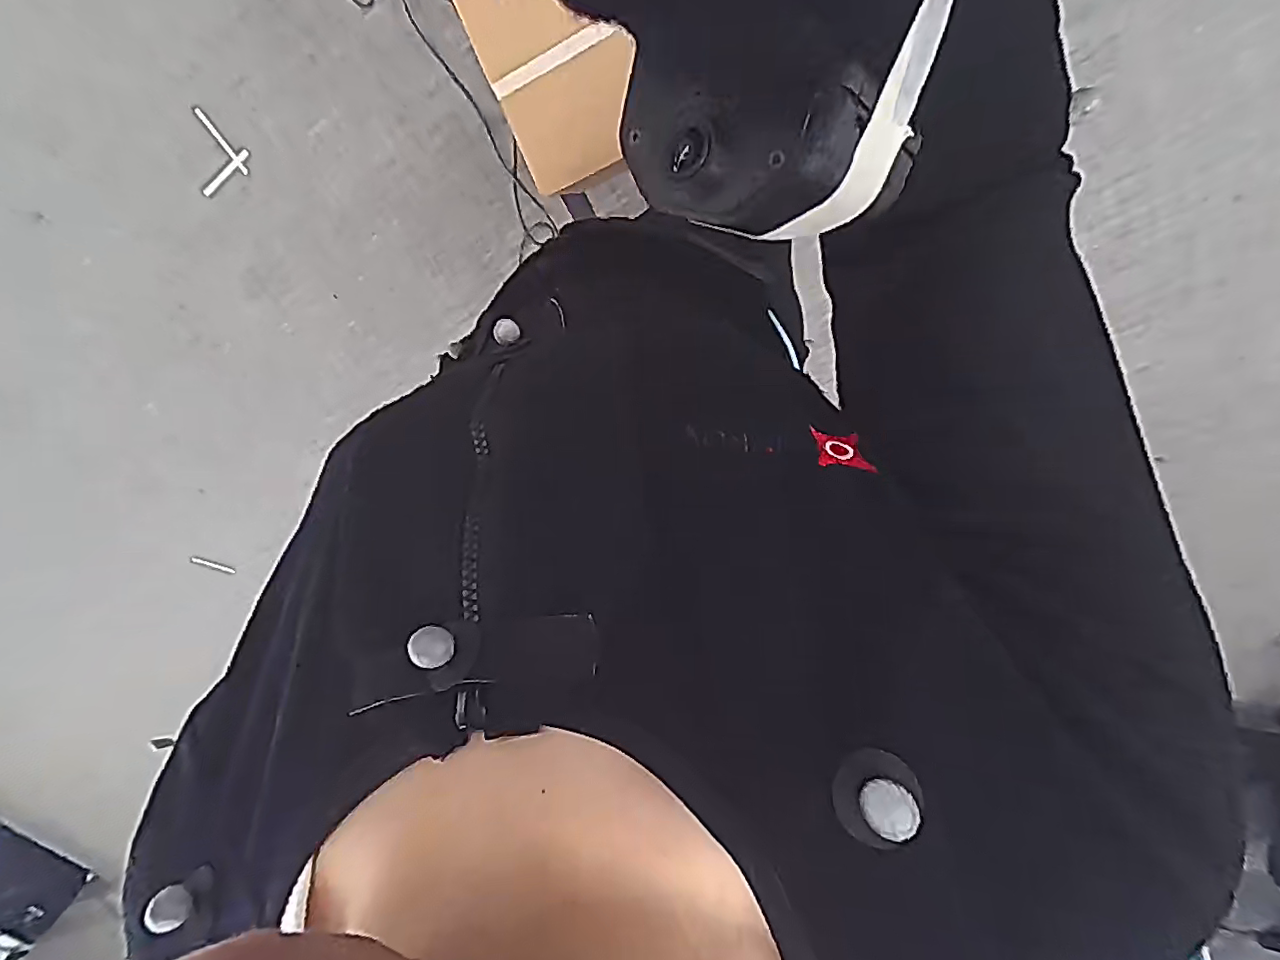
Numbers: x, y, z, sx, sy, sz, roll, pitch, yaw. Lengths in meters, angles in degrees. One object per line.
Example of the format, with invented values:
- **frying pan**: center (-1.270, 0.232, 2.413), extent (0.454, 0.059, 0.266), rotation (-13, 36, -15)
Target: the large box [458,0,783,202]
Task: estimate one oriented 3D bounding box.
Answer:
- **large box**: center (-0.017, -0.716, 0.911), extent (0.408, 0.320, 0.320), rotation (-18, 116, 15)
